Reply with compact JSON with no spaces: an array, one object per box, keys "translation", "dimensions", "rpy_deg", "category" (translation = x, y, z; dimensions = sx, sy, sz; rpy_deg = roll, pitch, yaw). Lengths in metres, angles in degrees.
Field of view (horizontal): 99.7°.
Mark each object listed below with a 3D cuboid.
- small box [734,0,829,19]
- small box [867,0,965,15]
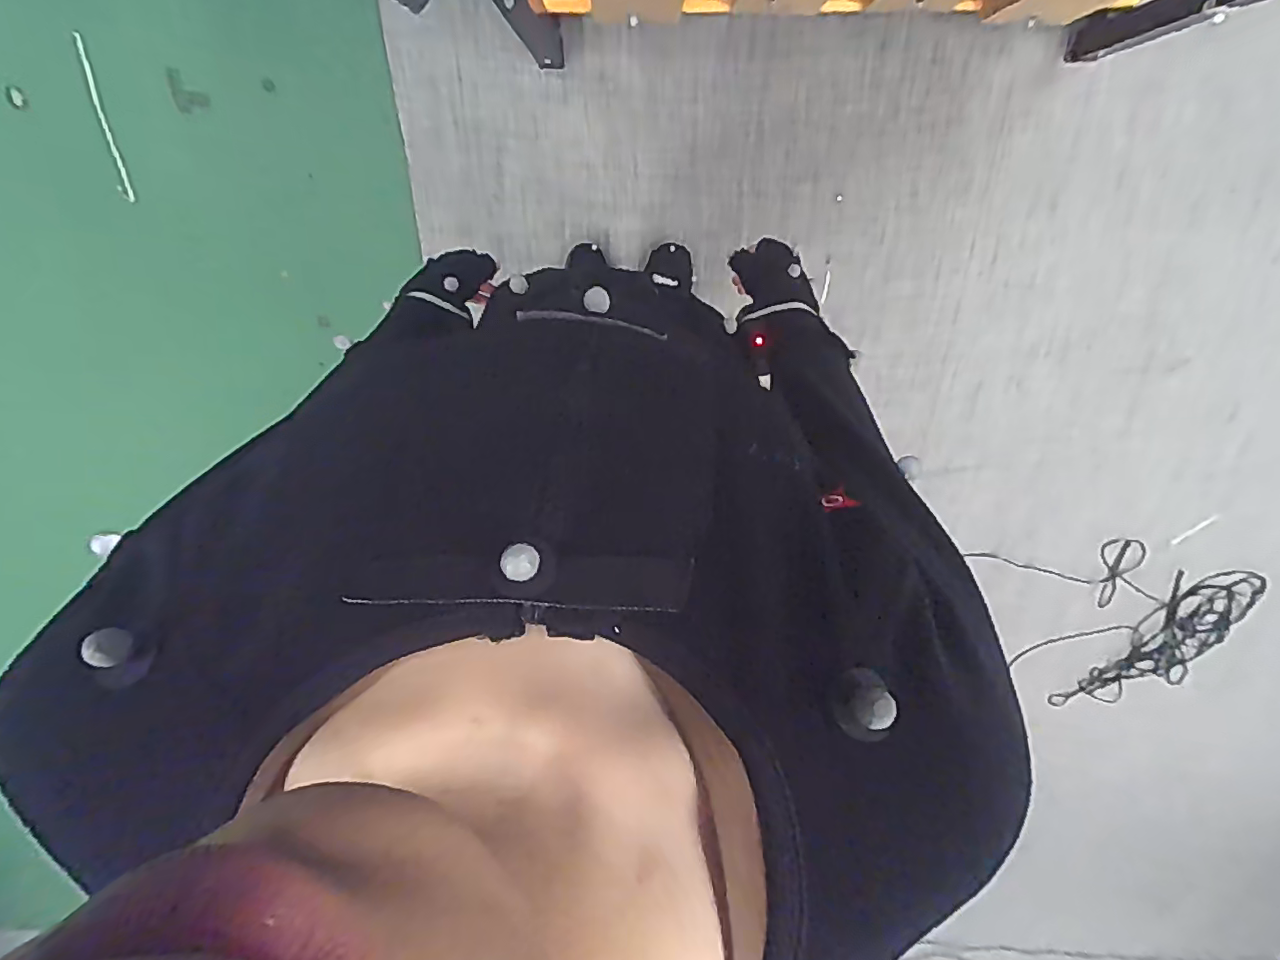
[{"translation":[0.258,-0.921,0.923],"dimensions":[0.168,0.176,0.179],"rpy_deg":[1,116,-1],"category":"small box"},{"translation":[0.504,-0.924,0.920],"dimensions":[0.168,0.176,0.179],"rpy_deg":[0,116,1],"category":"small box"}]
